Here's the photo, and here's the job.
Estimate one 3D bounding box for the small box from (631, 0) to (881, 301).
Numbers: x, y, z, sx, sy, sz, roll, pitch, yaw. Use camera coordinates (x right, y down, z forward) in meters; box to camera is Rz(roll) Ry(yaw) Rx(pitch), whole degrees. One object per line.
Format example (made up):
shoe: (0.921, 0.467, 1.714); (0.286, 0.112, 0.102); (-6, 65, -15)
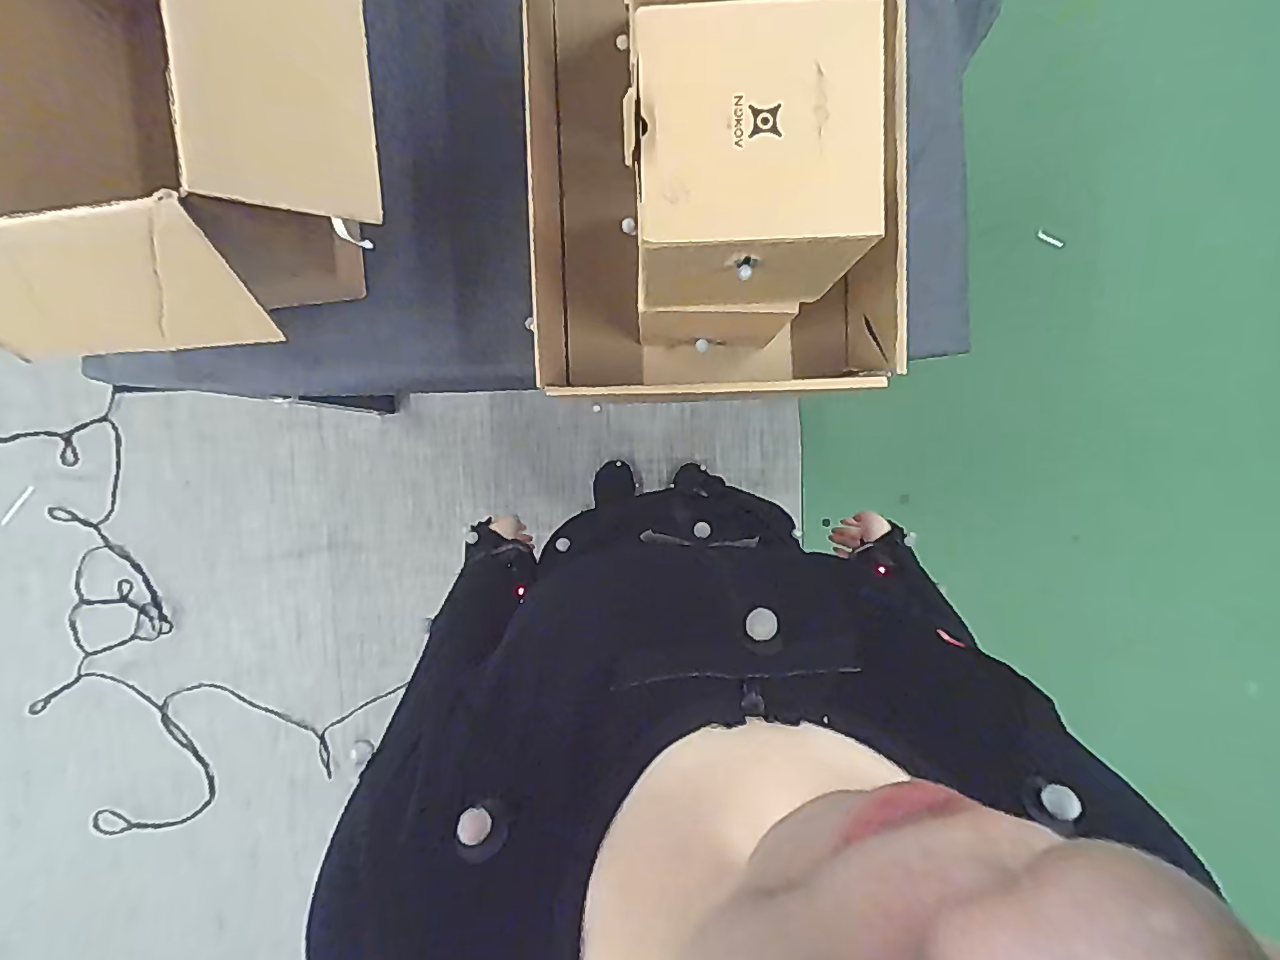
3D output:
small box: (0.086, -0.258, 0.463); (0.179, 0.176, 0.168); (-2, 93, 1)
